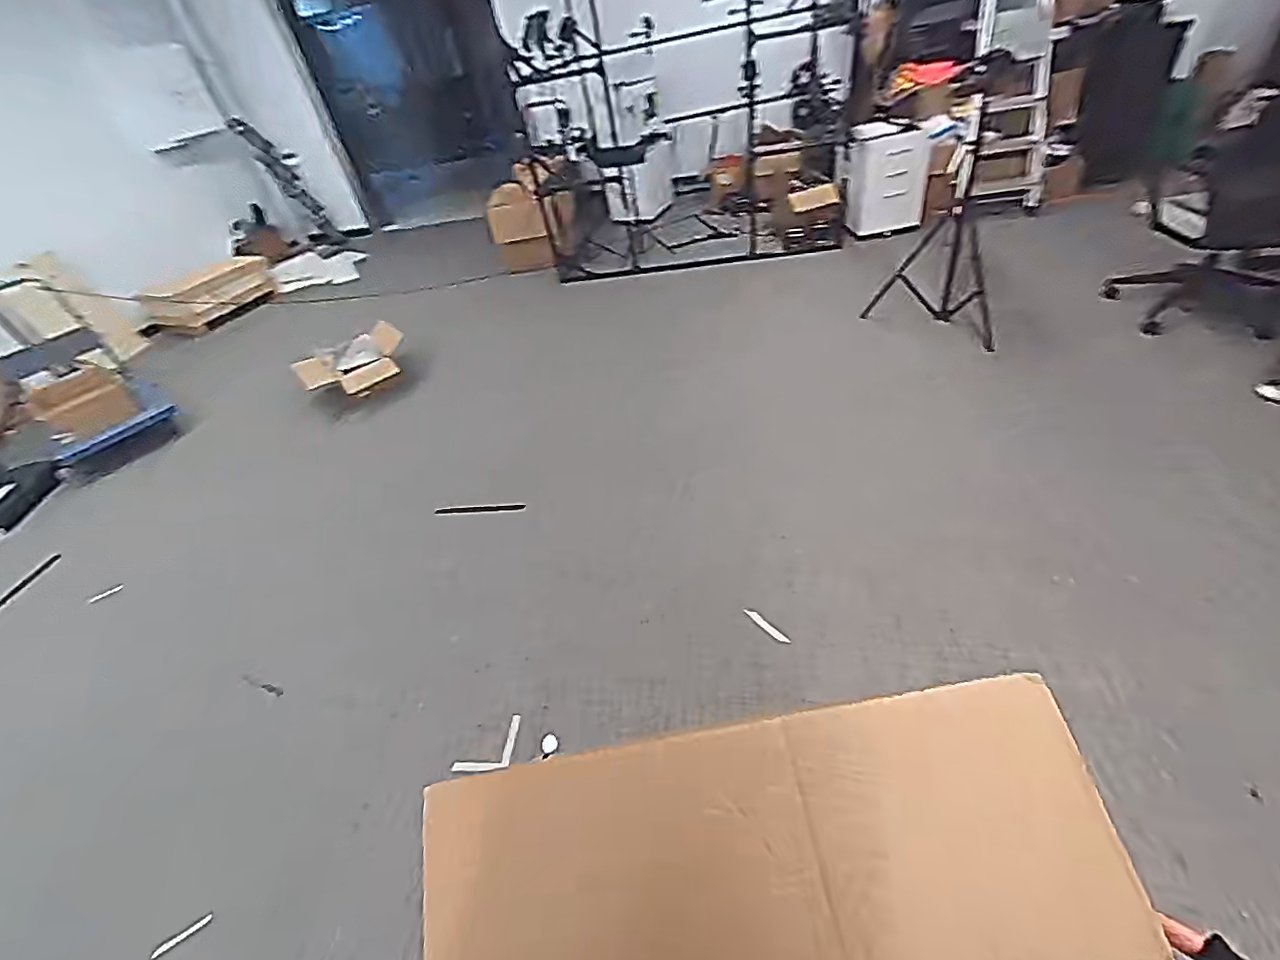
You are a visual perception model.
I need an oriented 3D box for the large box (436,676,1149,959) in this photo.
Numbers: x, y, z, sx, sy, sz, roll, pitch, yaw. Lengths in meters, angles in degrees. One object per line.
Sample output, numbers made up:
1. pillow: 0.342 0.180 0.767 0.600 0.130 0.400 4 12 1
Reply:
1. large box: 0.101 0.370 0.430 0.408 0.320 0.320 -13 66 2
